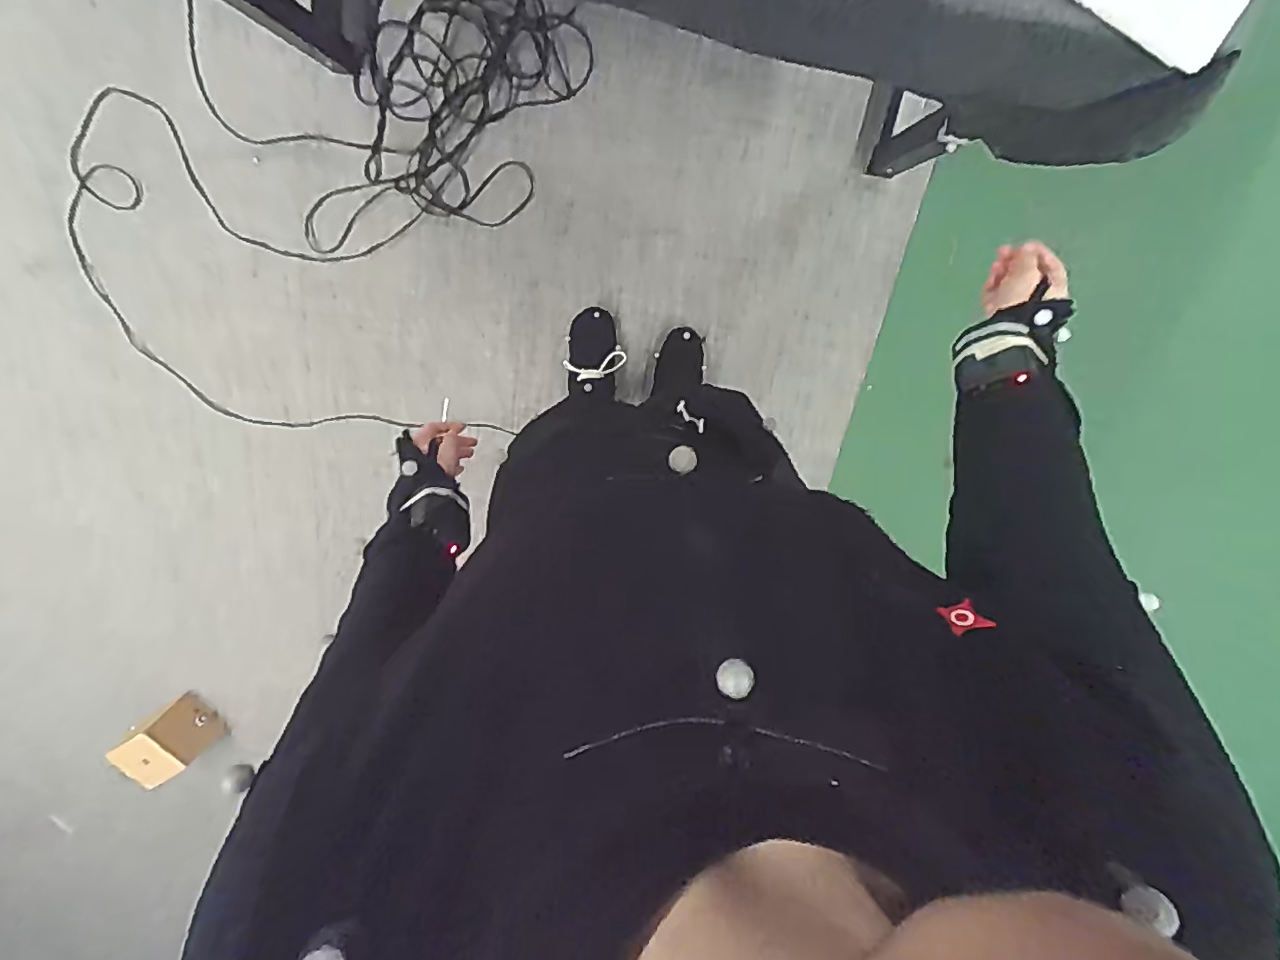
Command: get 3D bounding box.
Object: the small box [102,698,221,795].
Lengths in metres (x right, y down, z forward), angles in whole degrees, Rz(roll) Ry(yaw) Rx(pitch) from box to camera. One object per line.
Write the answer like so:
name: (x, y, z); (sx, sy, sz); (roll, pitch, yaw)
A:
small box: (-1.437, 0.801, 1.636); (0.179, 0.176, 0.168); (-32, 108, 11)
